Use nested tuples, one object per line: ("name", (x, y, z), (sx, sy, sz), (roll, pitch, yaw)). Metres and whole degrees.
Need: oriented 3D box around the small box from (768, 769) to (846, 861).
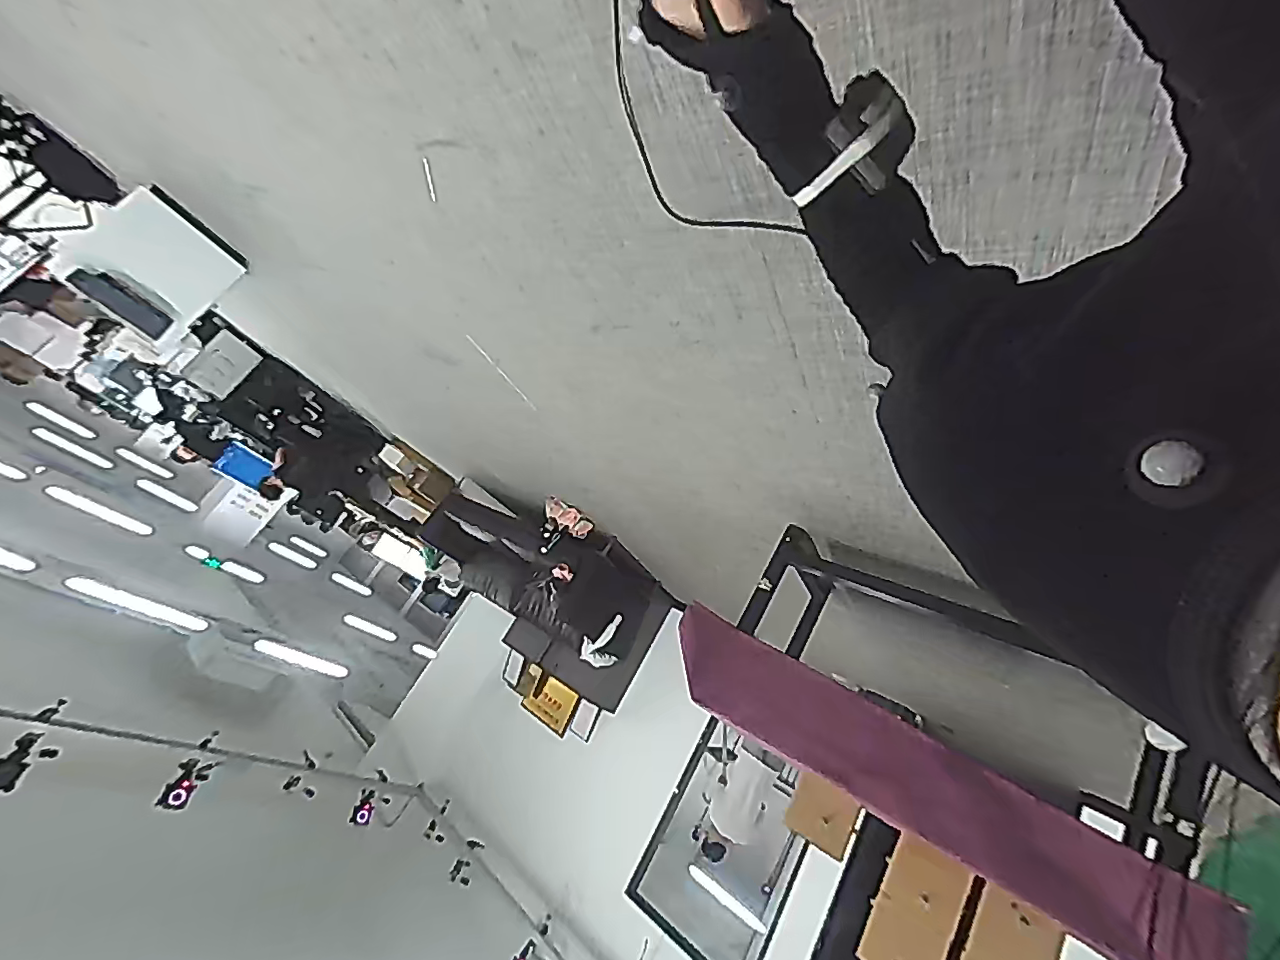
("small box", (0.505, 0.994, 1.614), (0.179, 0.176, 0.168), (20, 158, 31))
